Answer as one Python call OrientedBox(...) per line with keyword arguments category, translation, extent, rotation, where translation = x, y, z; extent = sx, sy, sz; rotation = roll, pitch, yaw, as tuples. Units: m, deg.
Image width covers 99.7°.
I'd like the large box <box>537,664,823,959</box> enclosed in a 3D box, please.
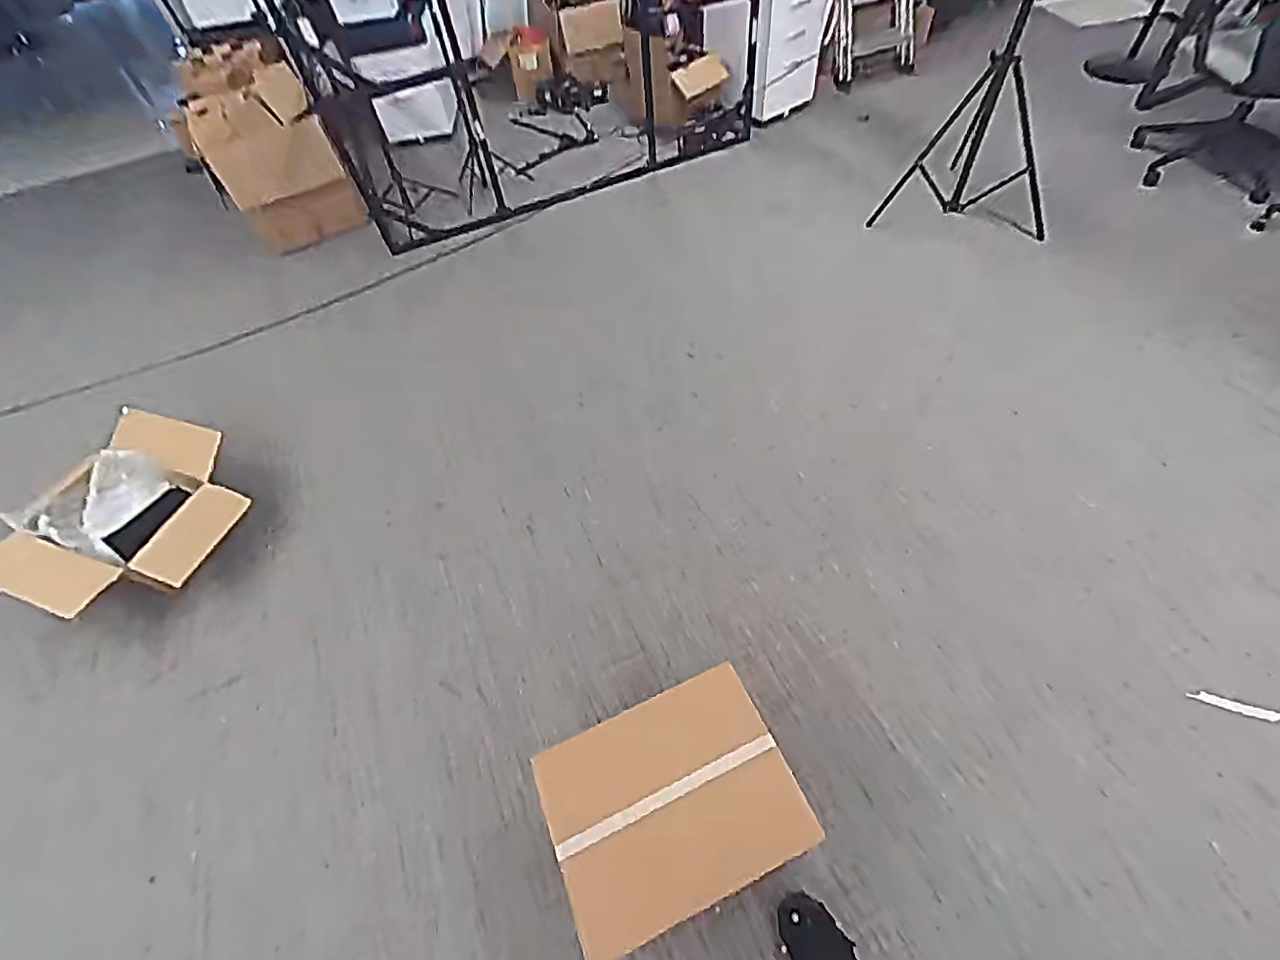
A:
OrientedBox(category="large box", translation=(0.069, 0.623, 1.026), extent=(0.408, 0.320, 0.320), rotation=(-23, 55, -10))
